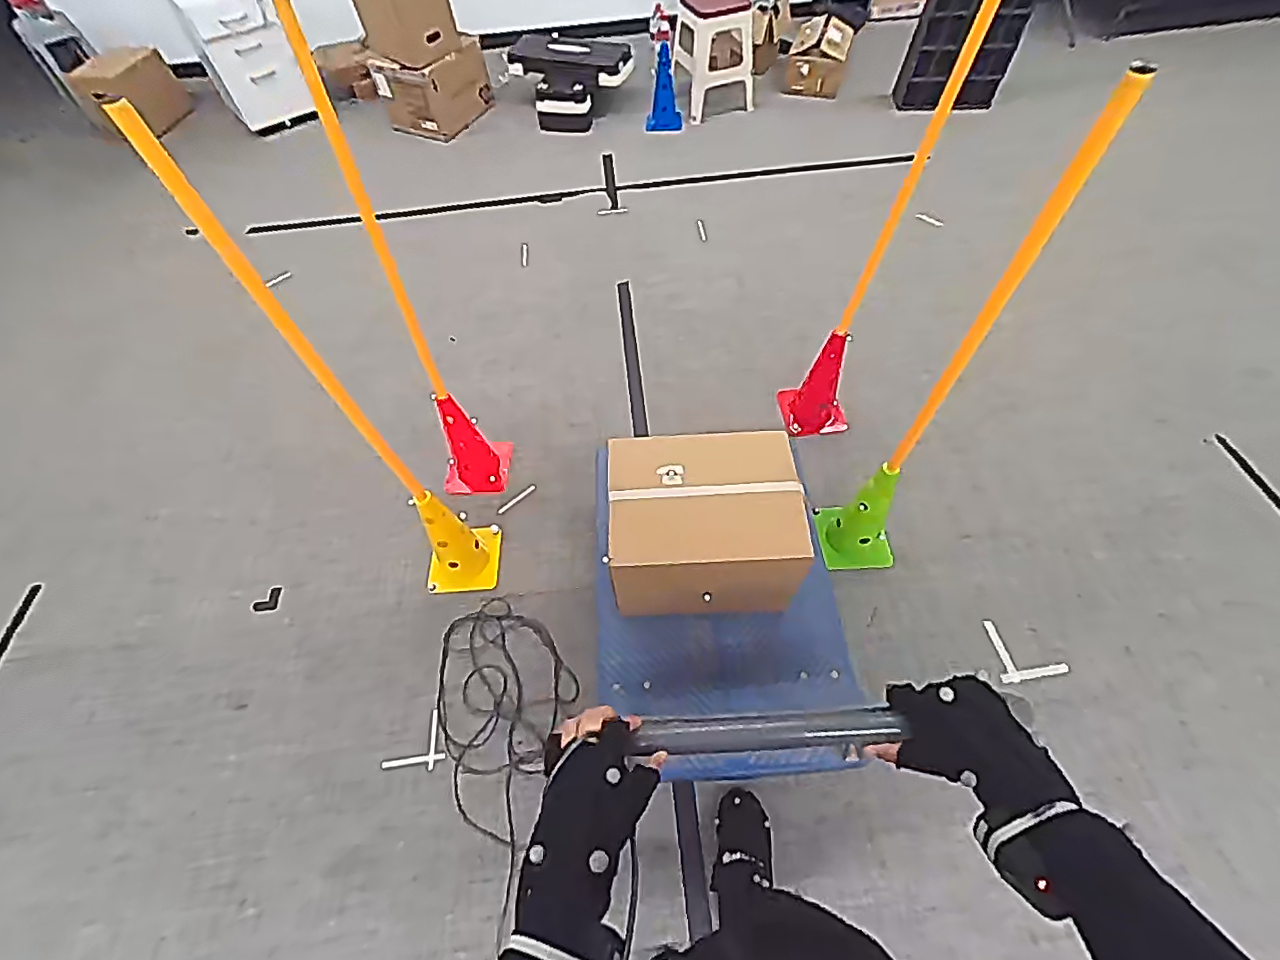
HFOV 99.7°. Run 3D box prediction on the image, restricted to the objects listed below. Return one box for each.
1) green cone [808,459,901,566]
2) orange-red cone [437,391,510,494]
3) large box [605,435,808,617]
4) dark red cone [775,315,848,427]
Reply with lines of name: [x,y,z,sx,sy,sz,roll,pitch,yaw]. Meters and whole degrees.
green cone: [0.606,0.067,1.445,0.202,0.368,0.200,-3,57,0]
orange-red cone: [-0.540,-0.135,1.635,0.198,0.360,0.199,0,56,2]
large box: [0.136,0.119,1.263,0.408,0.320,0.320,-3,57,2]
dark red cone: [0.573,-0.348,1.696,0.201,0.394,0.202,-6,57,-3]
